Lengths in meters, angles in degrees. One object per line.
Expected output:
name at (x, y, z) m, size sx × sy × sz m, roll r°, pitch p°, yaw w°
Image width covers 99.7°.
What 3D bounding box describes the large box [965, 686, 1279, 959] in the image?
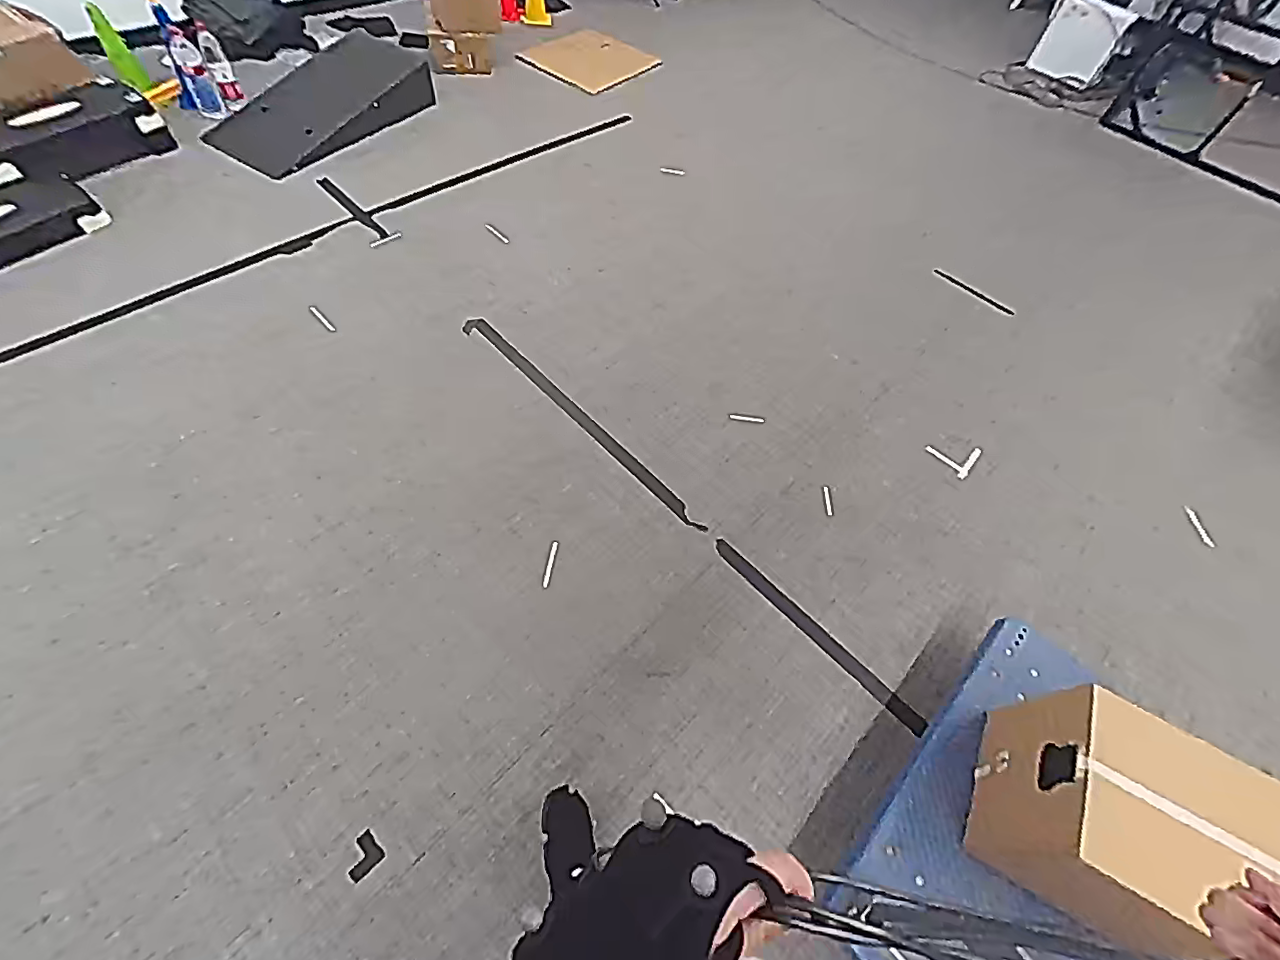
large box at (0.910, 0.654, 1.012) m, size 0.408 × 0.320 × 0.320 m, roll 29°, pitch 60°, yaw 10°
